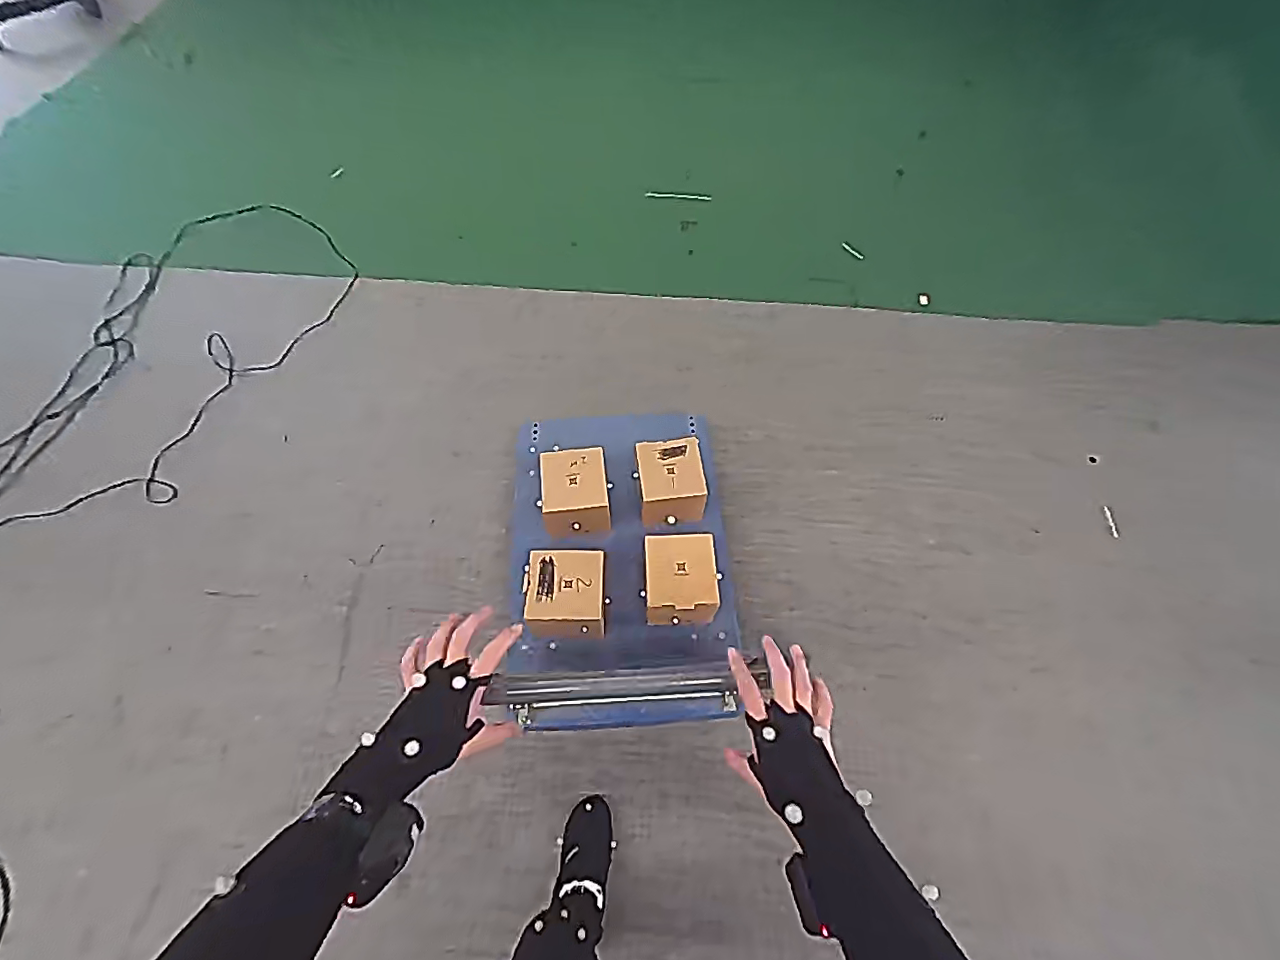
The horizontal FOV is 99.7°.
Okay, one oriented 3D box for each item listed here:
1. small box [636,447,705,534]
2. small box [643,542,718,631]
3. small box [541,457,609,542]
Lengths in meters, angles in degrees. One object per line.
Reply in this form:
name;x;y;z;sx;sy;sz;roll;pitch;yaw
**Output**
small box;0.077;0.032;1.481;0.168;0.176;0.179;-6;62;-3
small box;0.094;0.268;1.350;0.168;0.176;0.179;-2;61;-2
small box;-0.173;0.059;1.462;0.168;0.176;0.179;-5;61;-5
